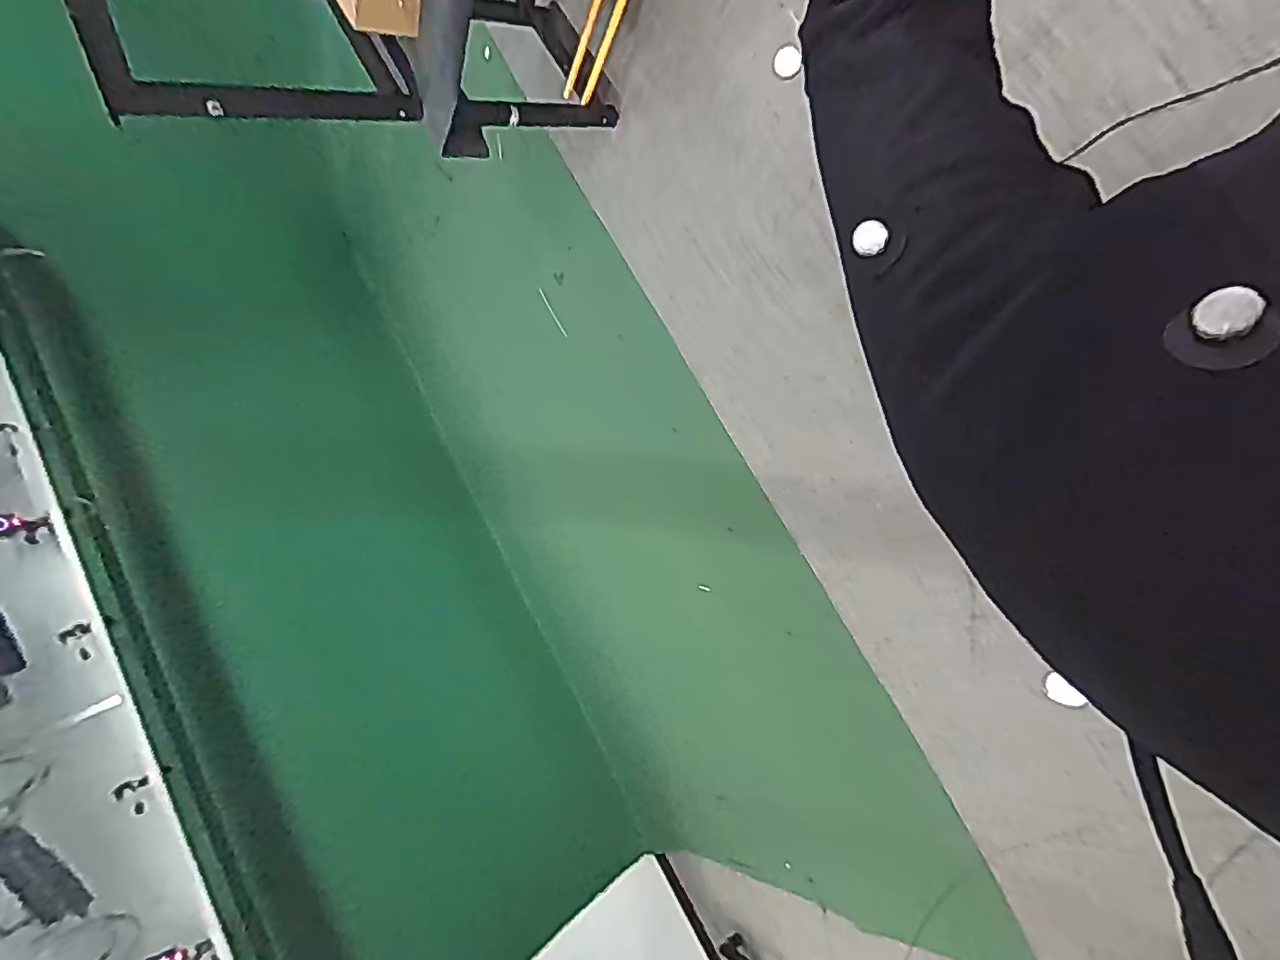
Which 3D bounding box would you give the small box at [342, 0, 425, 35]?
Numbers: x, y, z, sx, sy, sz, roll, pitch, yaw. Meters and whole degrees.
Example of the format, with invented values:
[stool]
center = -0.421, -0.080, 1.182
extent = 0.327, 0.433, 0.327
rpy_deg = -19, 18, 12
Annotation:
[small box]
center = -0.675, -1.302, 1.403
extent = 0.179, 0.176, 0.168
rpy_deg = 59, 146, 11
